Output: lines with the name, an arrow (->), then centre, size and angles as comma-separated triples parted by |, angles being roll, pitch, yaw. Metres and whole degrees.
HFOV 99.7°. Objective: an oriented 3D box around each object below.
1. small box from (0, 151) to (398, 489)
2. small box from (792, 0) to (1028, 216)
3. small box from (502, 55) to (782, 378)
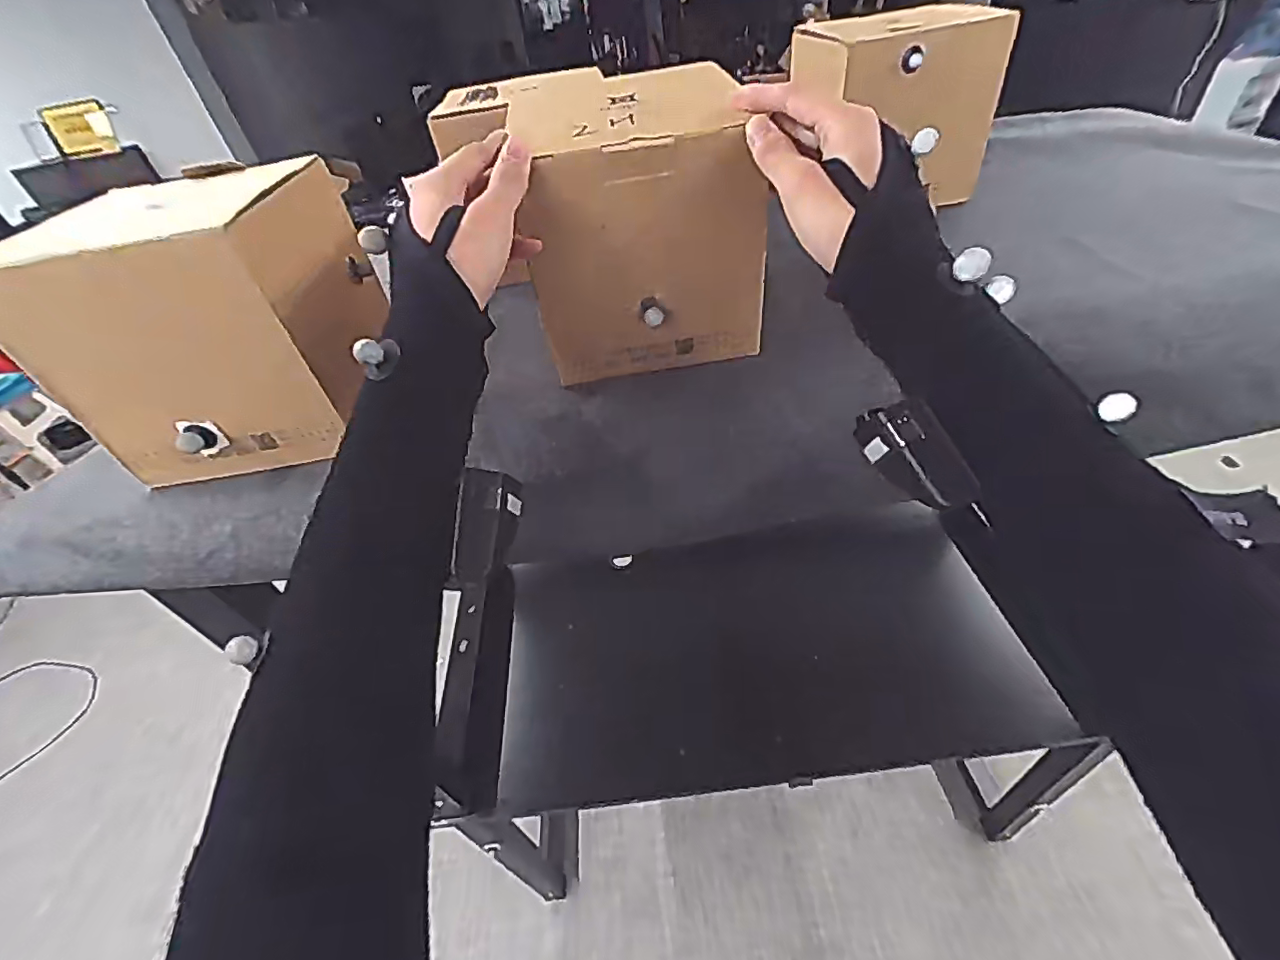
small box -> -0.301, -0.119, 0.396 | 0.168, 0.176, 0.179 | -11, 42, -1
small box -> 0.278, -0.417, 0.611 | 0.168, 0.176, 0.179 | -10, 42, 1
small box -> 0.000, -0.205, 0.425 | 0.168, 0.176, 0.179 | -9, 47, 0
